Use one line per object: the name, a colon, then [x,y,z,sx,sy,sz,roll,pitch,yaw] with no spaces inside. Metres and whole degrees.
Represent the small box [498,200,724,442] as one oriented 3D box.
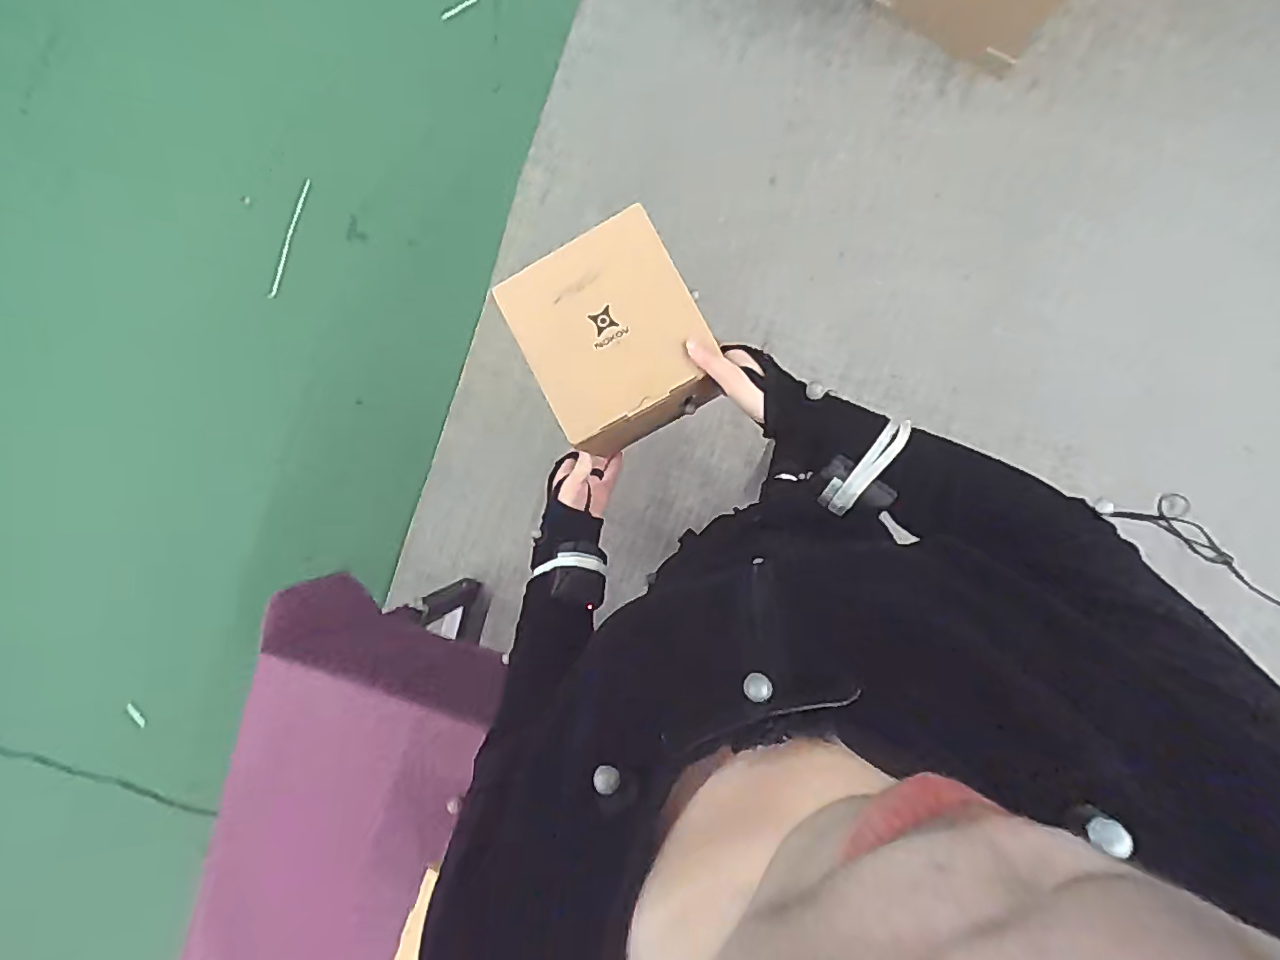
small box: [-0.019,-0.150,0.586,0.168,0.176,0.179,-26,85,6]
